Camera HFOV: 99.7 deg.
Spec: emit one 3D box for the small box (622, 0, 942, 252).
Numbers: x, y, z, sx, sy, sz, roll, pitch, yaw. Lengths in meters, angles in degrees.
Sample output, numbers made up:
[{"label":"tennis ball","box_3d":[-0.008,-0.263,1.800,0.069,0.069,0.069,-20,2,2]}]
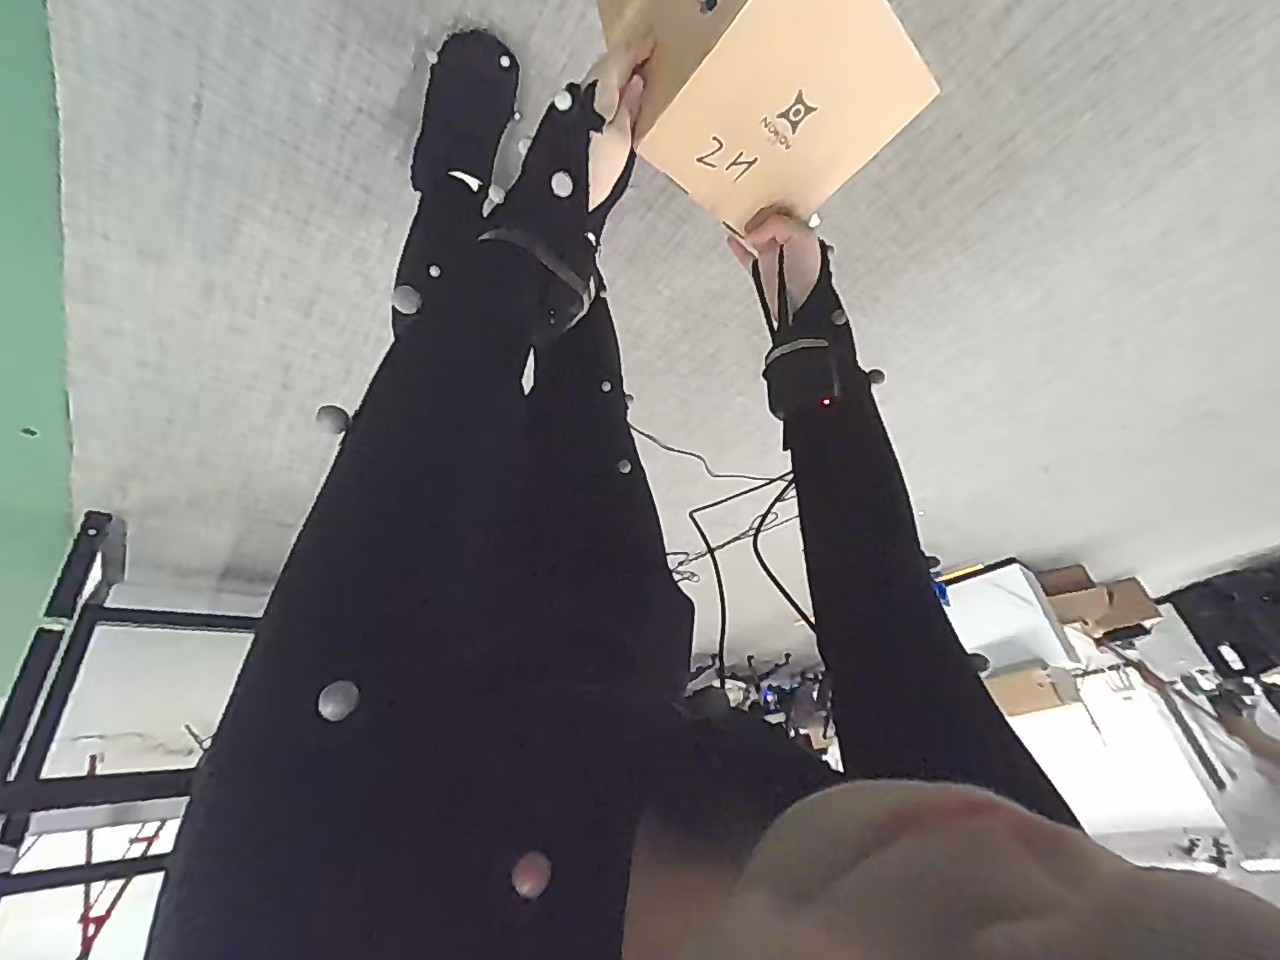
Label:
[{"label":"small box","box_3d":[0.100,-0.340,0.445,0.168,0.176,0.179,18,139,-36]}]
